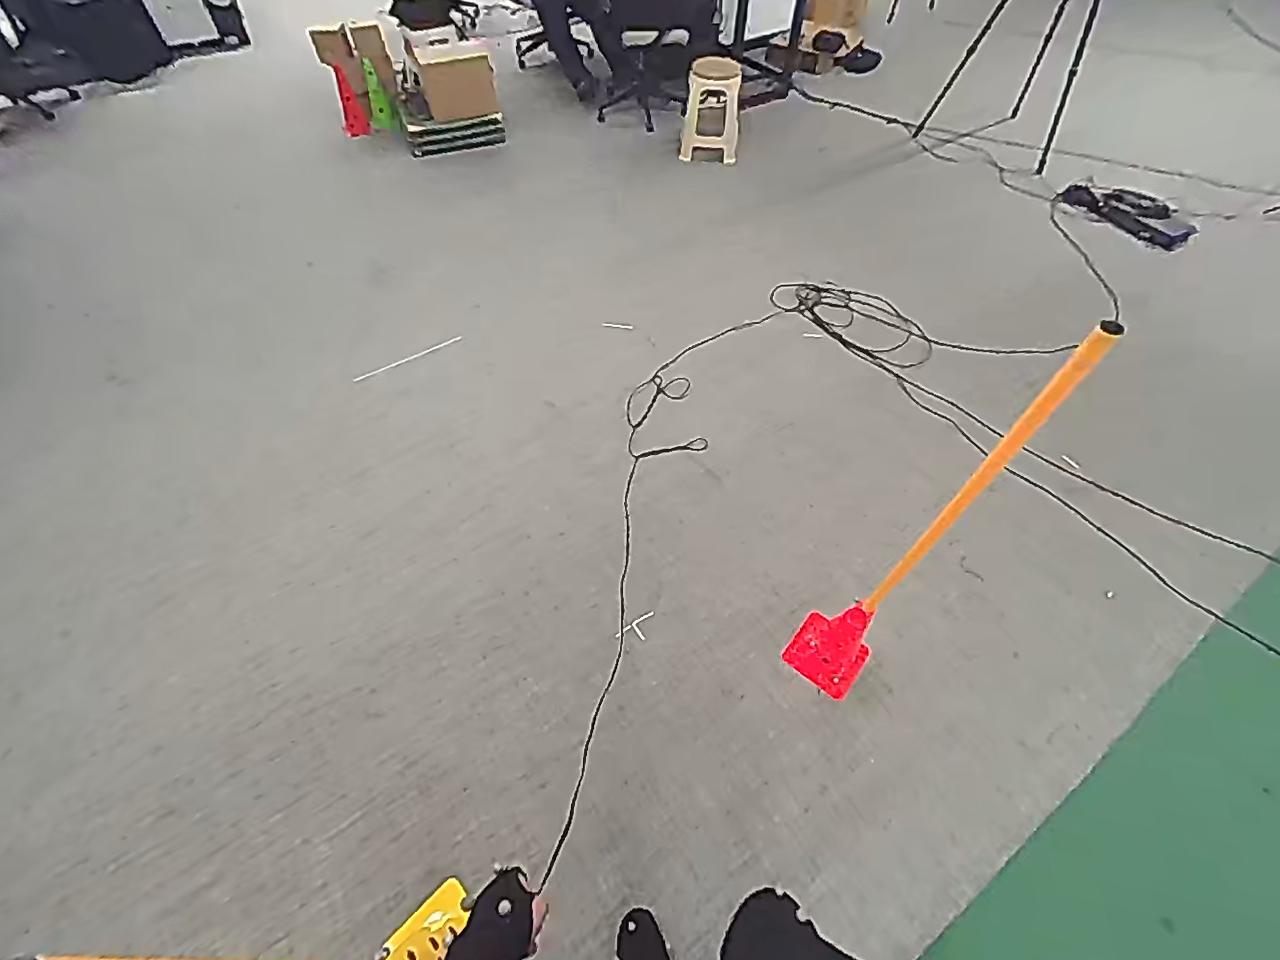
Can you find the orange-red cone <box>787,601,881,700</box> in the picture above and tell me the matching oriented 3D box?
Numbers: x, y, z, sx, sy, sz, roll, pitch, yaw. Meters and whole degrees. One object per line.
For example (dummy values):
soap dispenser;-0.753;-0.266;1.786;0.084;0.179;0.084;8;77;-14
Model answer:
orange-red cone;0.556;0.410;1.439;0.198;0.360;0.199;36;60;22
